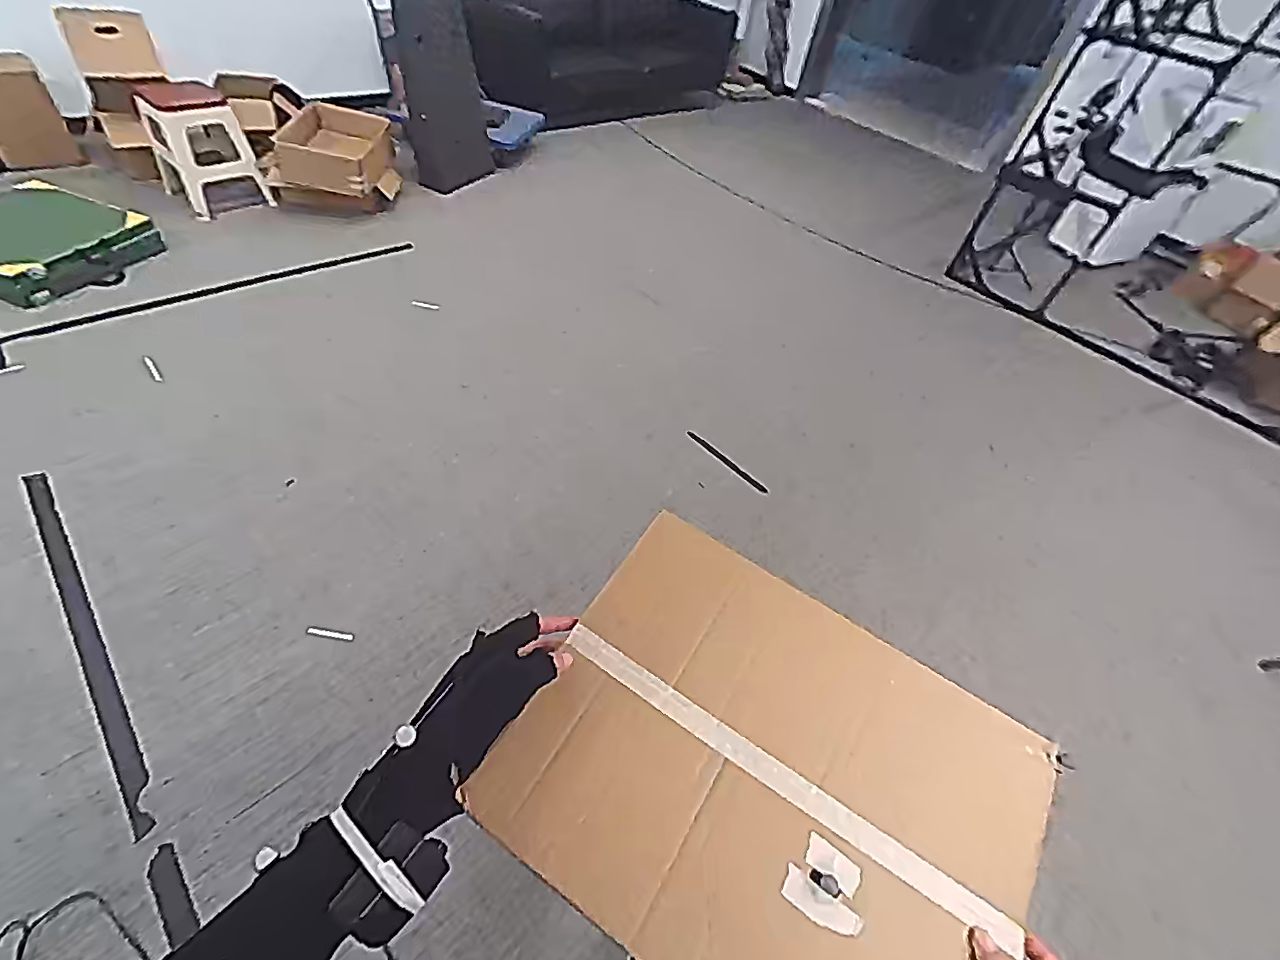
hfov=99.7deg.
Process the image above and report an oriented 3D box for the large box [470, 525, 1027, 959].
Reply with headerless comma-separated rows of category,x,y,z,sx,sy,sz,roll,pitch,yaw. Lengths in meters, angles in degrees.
large box,0.094,0.323,0.590,0.408,0.320,0.320,31,62,14
